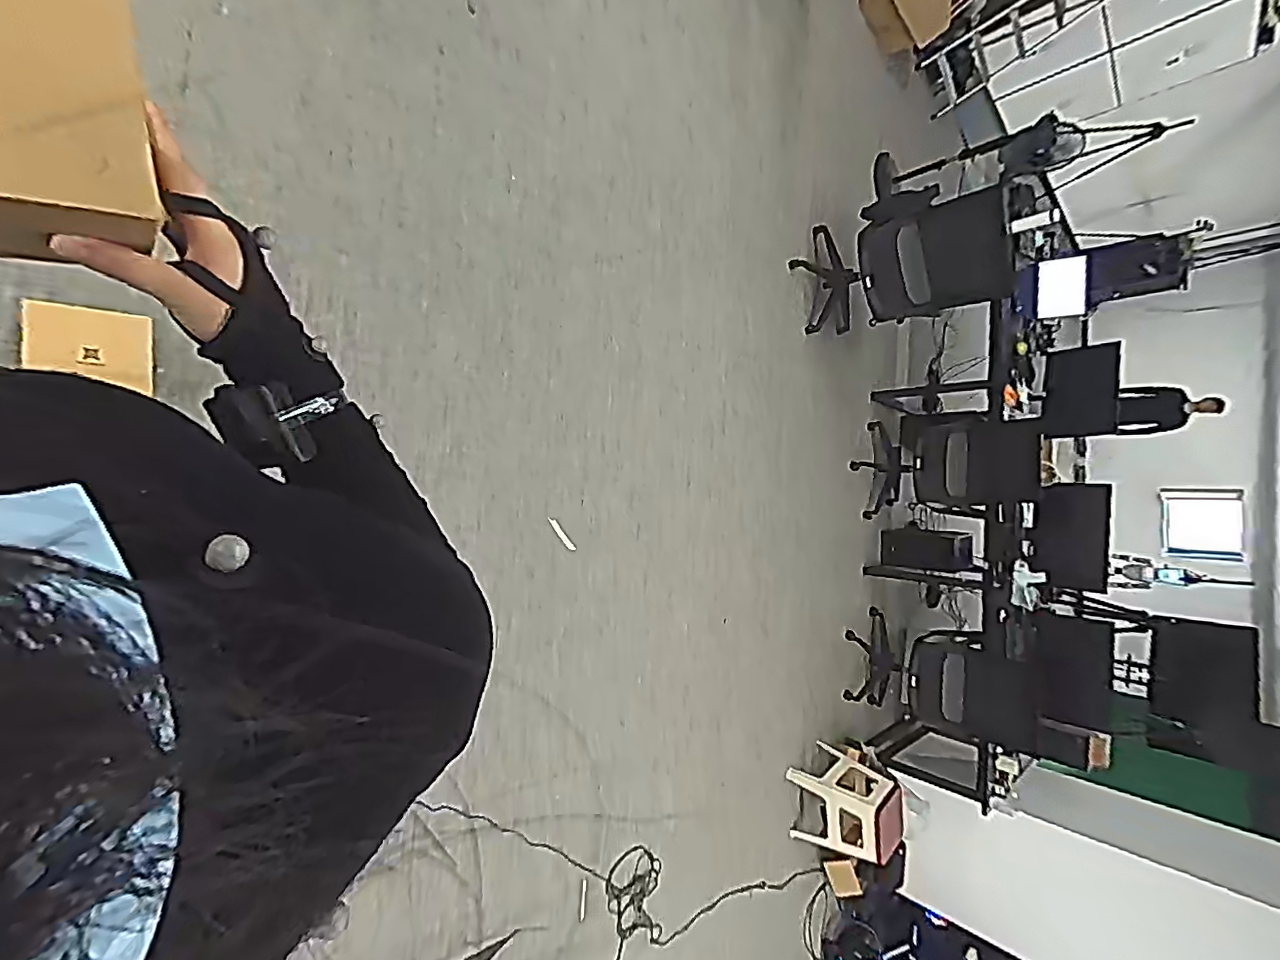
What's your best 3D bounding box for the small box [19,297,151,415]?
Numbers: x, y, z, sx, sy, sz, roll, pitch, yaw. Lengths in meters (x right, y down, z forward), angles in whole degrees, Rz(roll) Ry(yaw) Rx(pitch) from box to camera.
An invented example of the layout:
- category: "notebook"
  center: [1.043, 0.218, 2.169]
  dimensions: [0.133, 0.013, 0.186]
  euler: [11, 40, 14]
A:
- category: "small box"
  center: [-1.037, -0.222, 1.017]
  dimensions: [0.168, 0.176, 0.179]
  euler: [-1, 91, -44]
